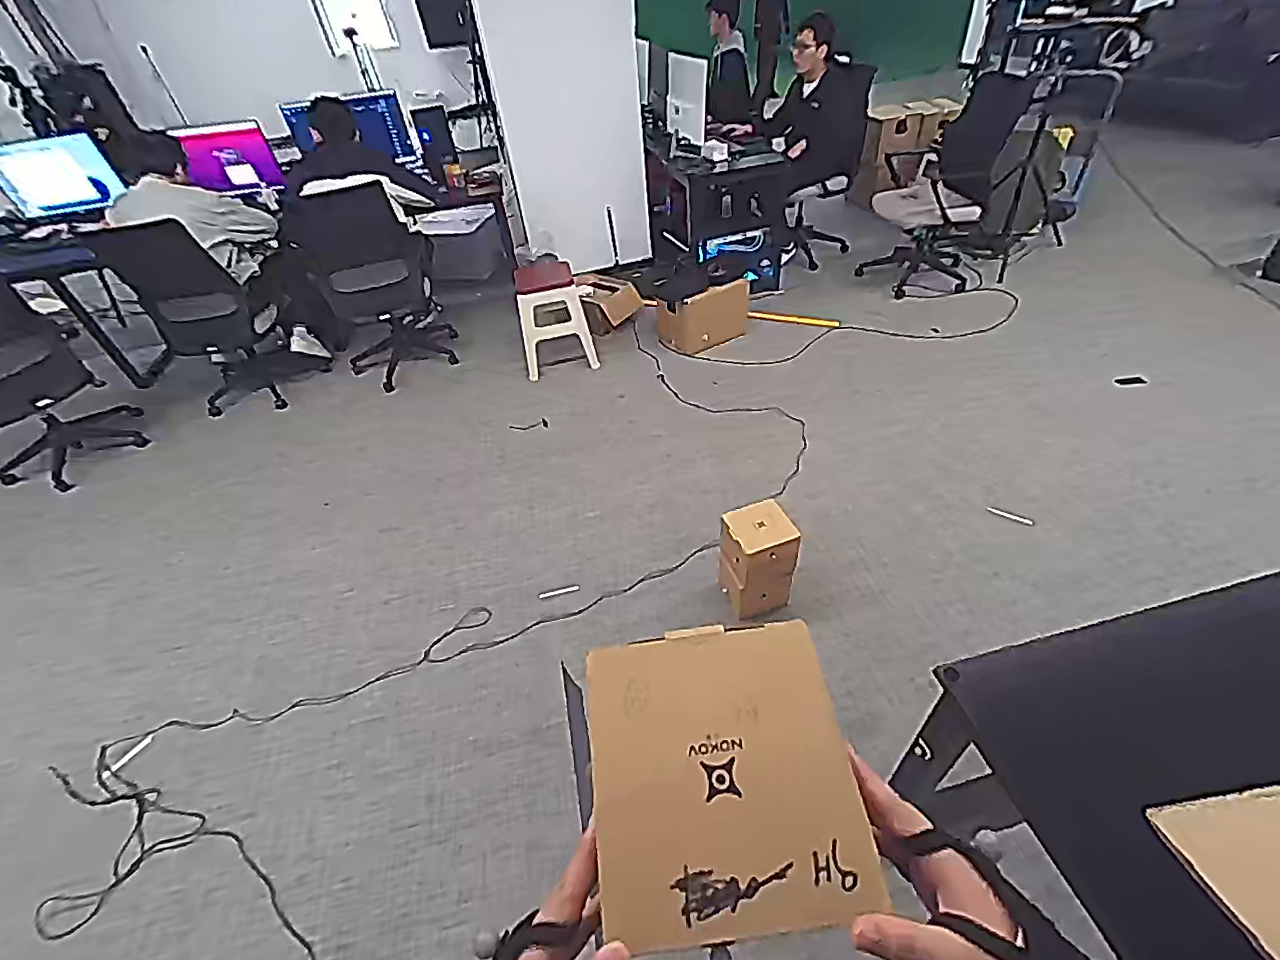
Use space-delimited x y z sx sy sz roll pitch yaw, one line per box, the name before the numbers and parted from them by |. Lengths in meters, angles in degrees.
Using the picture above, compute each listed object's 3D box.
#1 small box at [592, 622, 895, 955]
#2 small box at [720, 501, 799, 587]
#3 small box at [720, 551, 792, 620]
small box | 0.057 0.230 0.413 0.168 0.176 0.179 -8 54 -1
small box | 0.352 0.195 1.619 0.179 0.176 0.168 -17 44 -12
small box | 0.362 0.316 1.726 0.179 0.176 0.168 -16 43 -8
